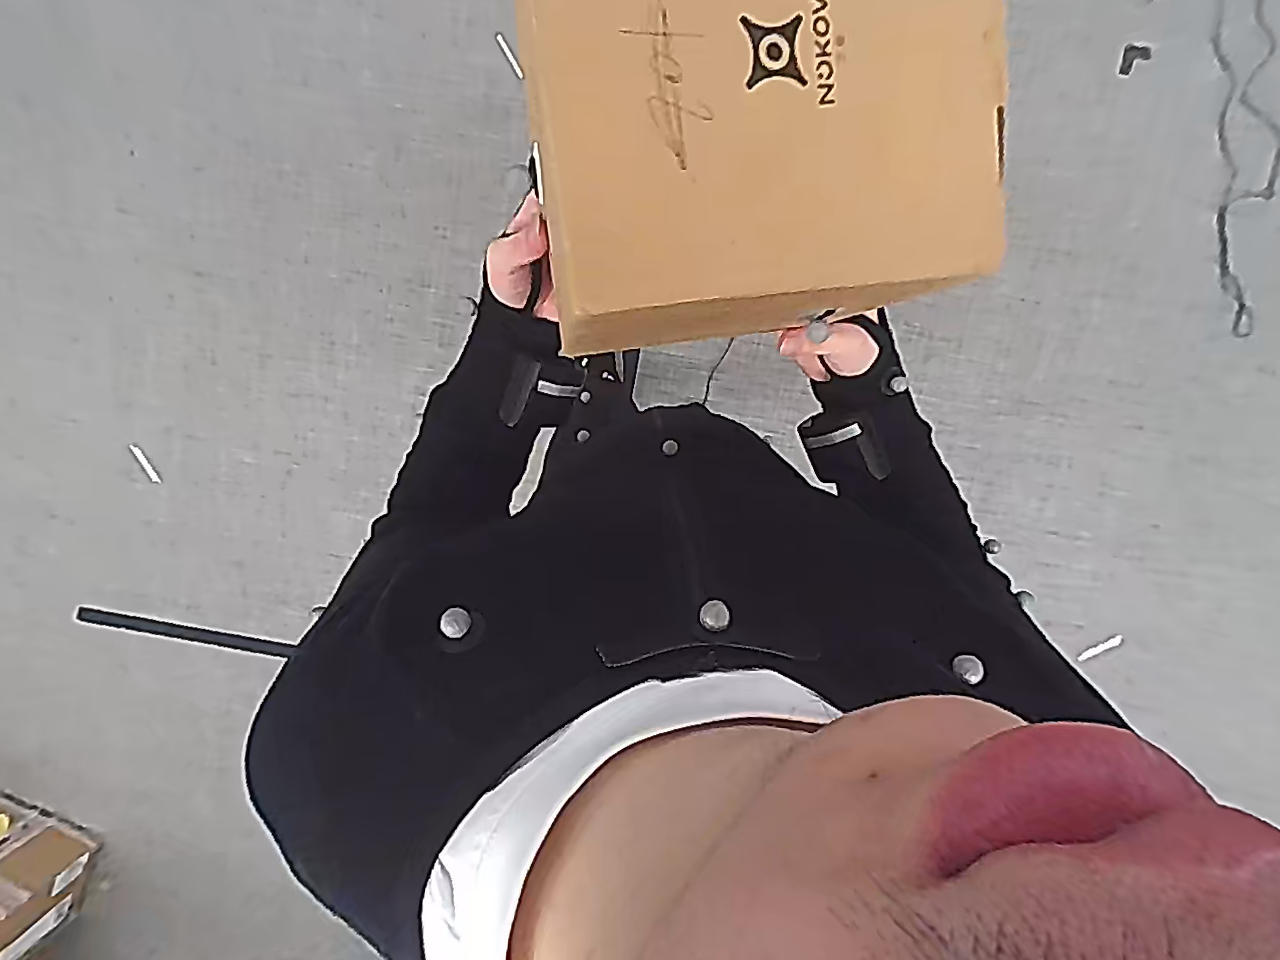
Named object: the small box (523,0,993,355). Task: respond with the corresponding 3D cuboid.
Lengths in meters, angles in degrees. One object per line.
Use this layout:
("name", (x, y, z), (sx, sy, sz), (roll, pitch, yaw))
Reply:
("small box", (0.038, -0.165, 0.280), (0.179, 0.176, 0.168), (-11, 98, -8))
